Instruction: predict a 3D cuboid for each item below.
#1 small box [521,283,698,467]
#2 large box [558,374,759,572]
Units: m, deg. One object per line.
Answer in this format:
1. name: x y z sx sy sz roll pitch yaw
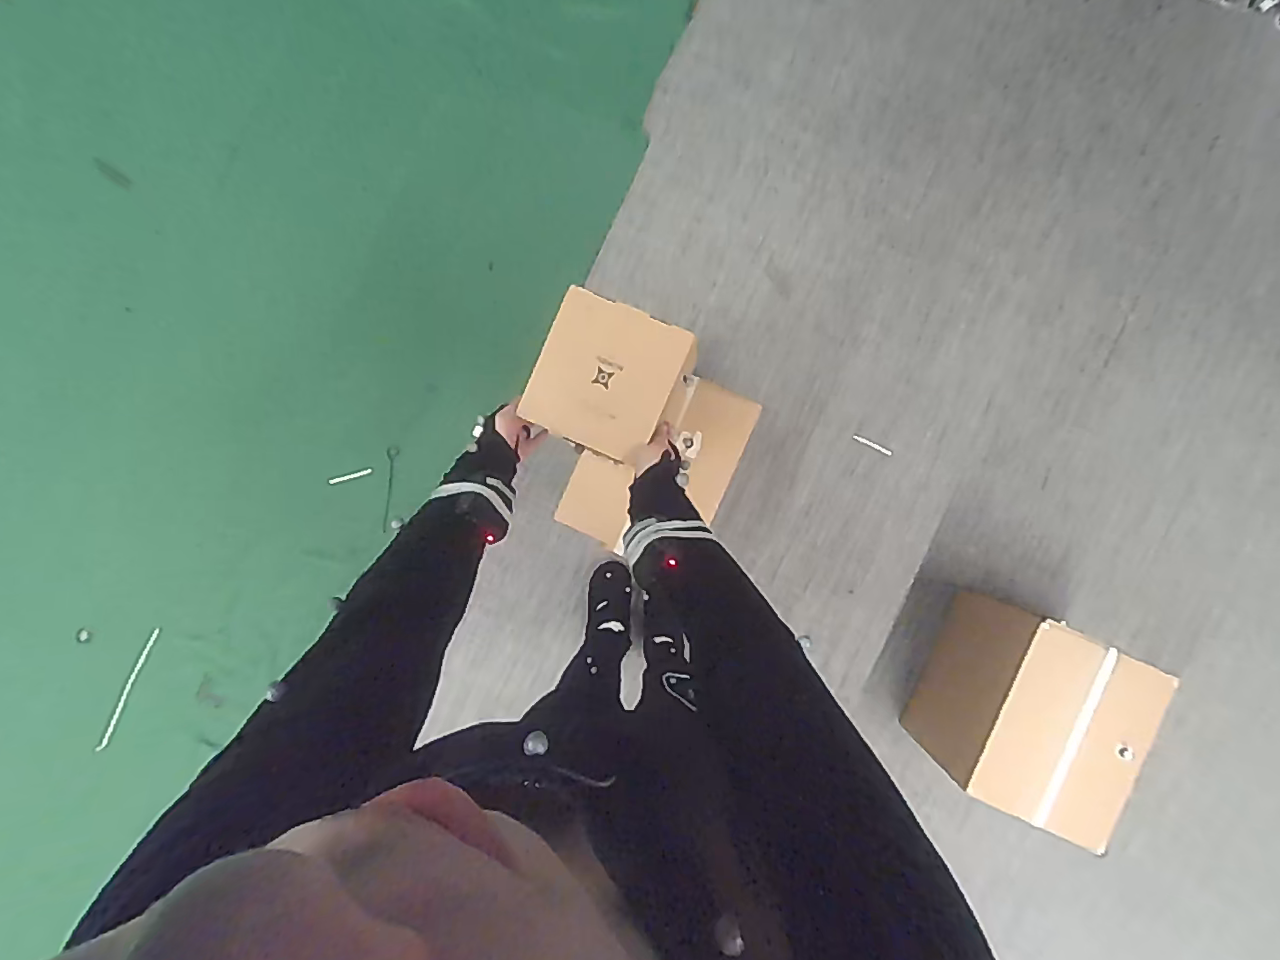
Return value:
1. small box: -0.033 -0.127 0.728 0.168 0.176 0.179 24 93 5
2. large box: 0.044 -0.040 1.297 0.320 0.320 0.408 24 90 2
